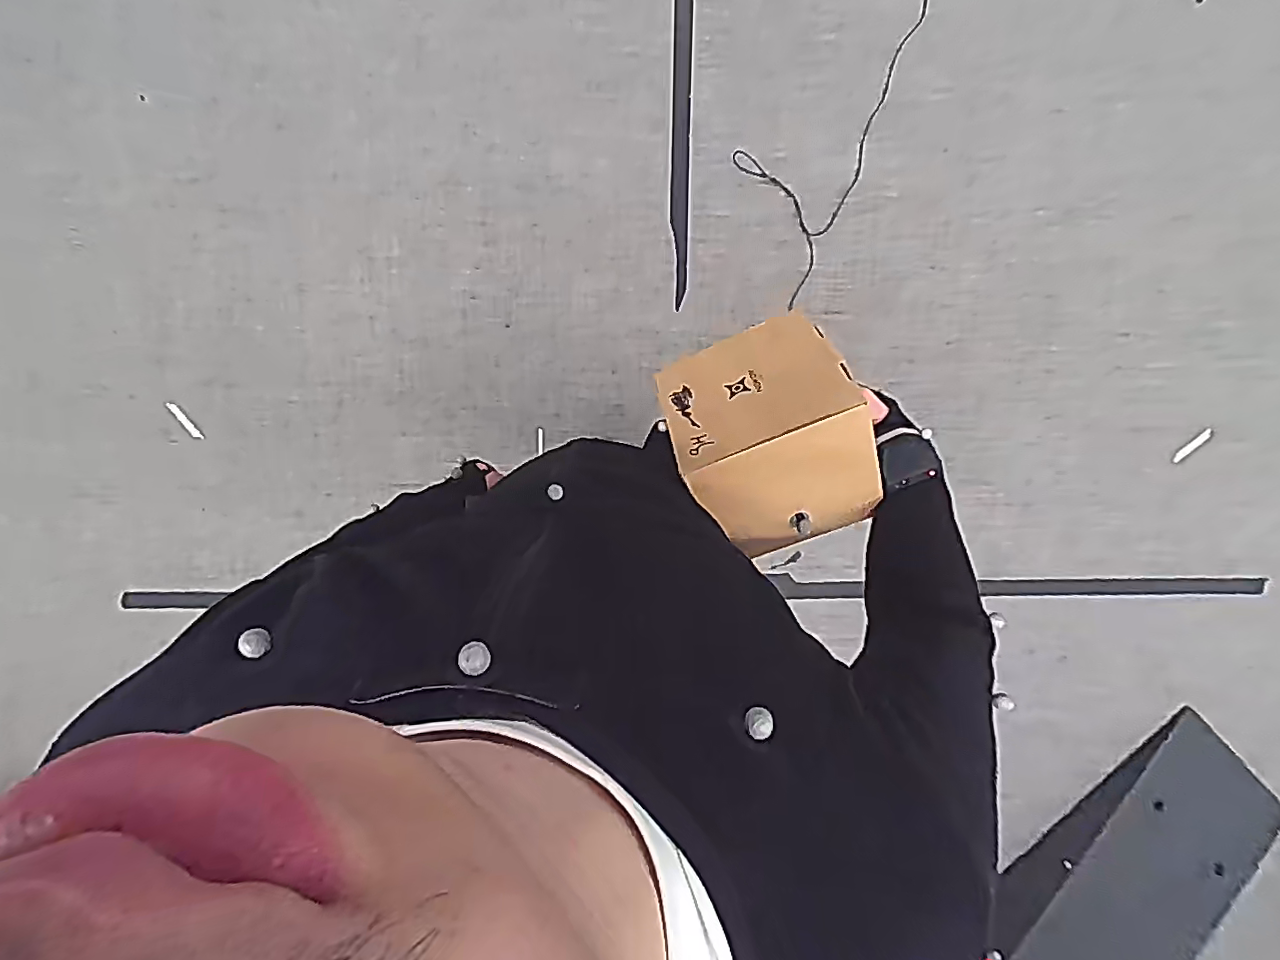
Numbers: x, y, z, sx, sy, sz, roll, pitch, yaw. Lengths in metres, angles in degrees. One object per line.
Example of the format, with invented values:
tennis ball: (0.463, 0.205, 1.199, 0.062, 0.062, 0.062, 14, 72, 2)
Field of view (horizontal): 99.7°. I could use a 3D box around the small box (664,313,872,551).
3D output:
small box: (0.146, -0.048, 0.608, 0.179, 0.168, 0.176, -21, 134, 12)
